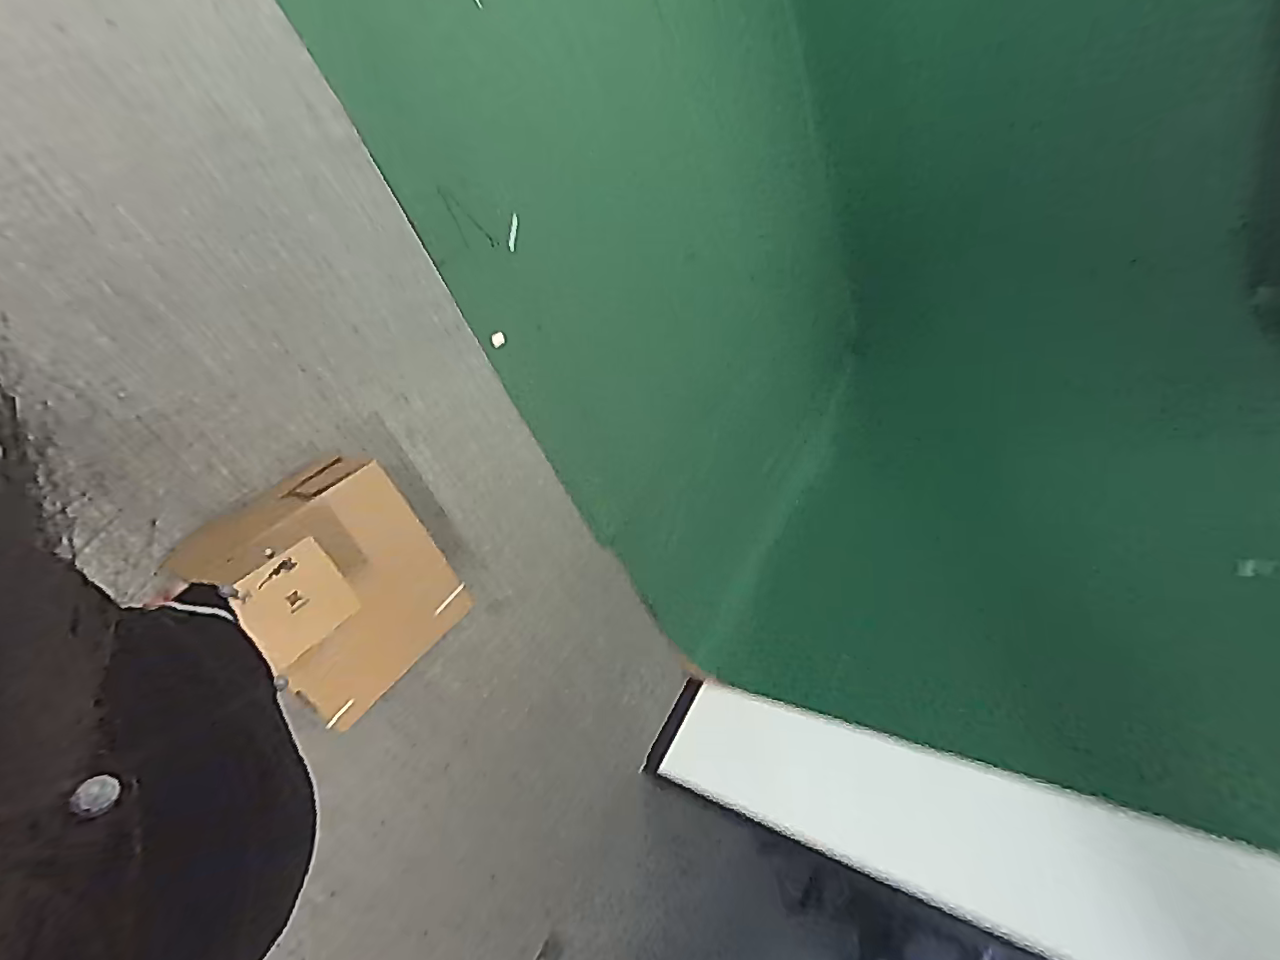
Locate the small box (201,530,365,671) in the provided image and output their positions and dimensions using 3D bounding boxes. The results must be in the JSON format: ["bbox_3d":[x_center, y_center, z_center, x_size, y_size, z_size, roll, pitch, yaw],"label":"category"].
[{"bbox_3d":[-0.653,0.210,0.993,0.168,0.176,0.179,-43,124,-38],"label":"small box"}]
